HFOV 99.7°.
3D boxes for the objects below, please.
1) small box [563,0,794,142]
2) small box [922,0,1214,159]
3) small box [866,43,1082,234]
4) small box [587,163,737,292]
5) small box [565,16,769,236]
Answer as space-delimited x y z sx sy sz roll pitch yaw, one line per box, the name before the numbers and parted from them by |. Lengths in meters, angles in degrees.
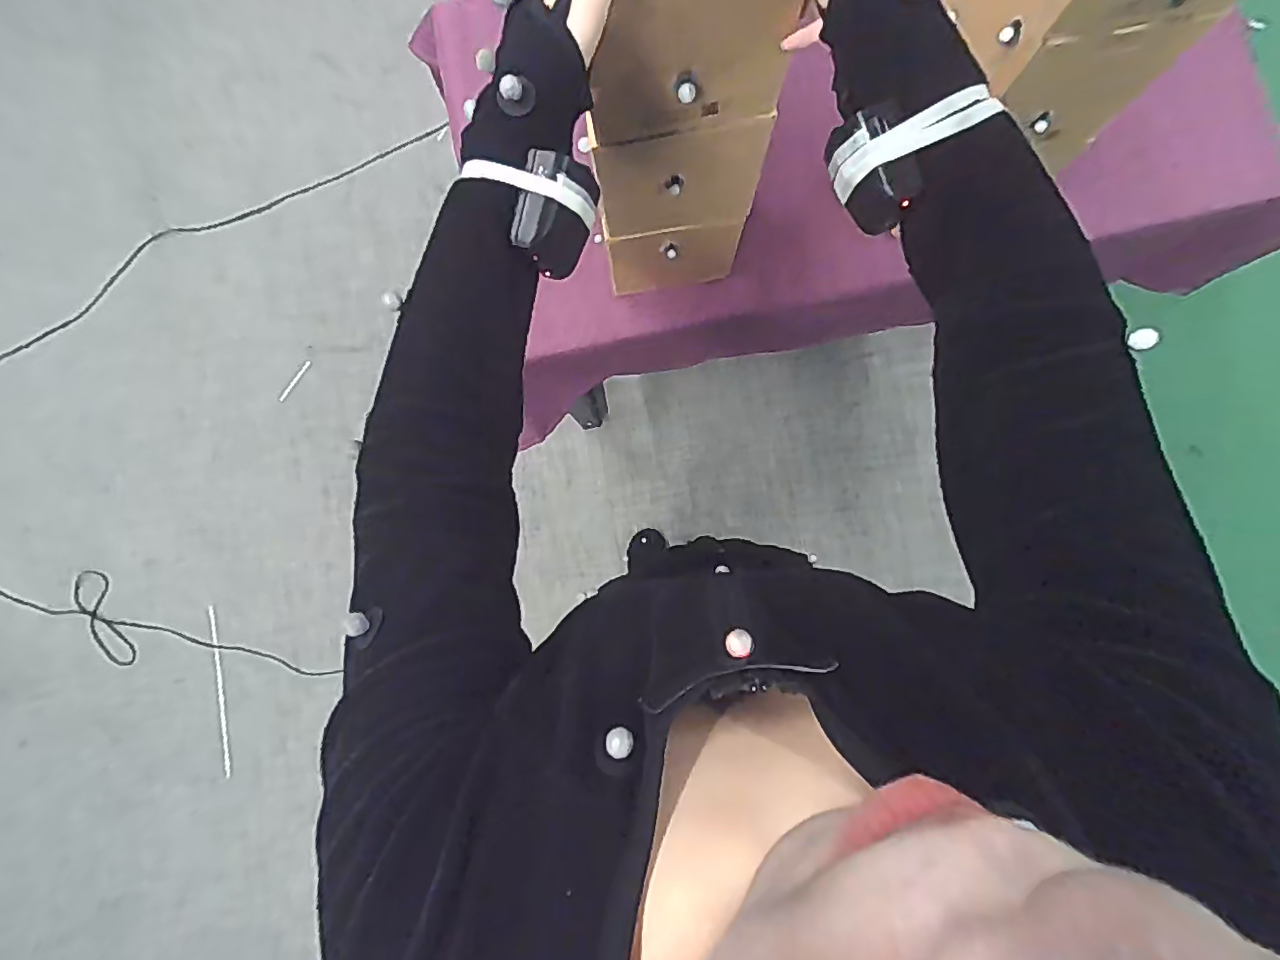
small box | 0.018 -0.412 0.423 0.168 0.176 0.179 -10 87 2
small box | 0.430 -0.488 0.578 0.168 0.176 0.179 -9 86 2
small box | 0.439 -0.465 0.739 0.179 0.176 0.168 -10 85 1
small box | 0.028 -0.378 0.749 0.179 0.176 0.168 -8 86 1
small box | 0.027 -0.393 0.587 0.179 0.176 0.168 -9 86 3
